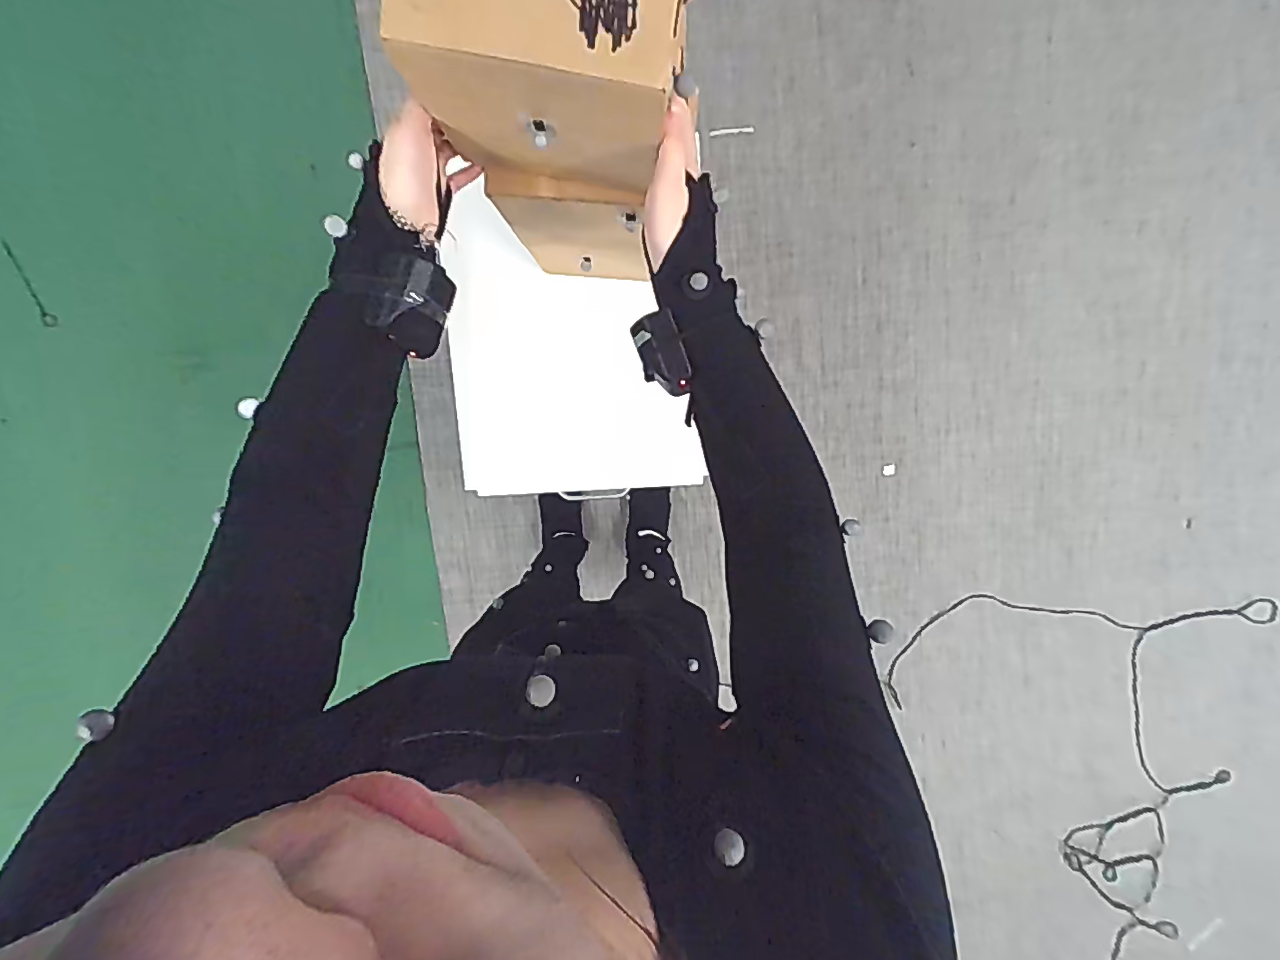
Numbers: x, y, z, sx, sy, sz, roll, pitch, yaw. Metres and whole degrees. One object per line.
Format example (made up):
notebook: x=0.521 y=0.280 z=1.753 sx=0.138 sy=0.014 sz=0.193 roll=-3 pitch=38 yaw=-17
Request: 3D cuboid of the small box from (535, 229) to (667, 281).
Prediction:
small box: x=-0.050 y=-0.371 z=0.721 sx=0.179 sy=0.176 sz=0.168 roll=4 pitch=99 yaw=-1

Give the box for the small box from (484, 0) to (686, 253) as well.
small box: x=-0.052 y=-0.345 z=0.560 sx=0.179 sy=0.176 sz=0.168 roll=3 pitch=98 yaw=-2
